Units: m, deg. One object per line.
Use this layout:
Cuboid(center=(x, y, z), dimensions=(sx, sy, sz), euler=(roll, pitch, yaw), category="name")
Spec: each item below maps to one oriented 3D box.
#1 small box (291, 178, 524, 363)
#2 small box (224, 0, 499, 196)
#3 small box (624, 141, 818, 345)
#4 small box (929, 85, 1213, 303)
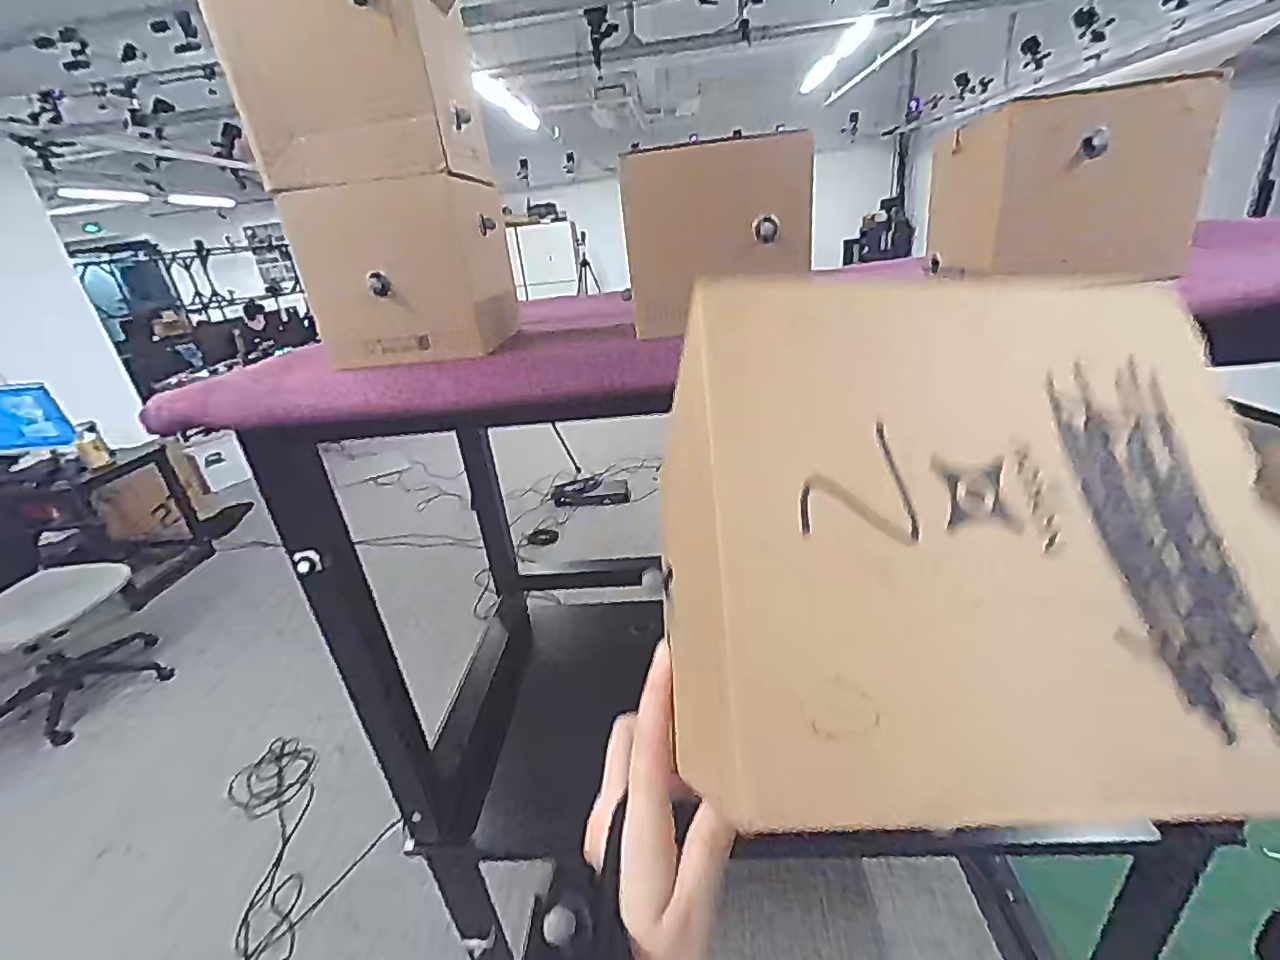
Cuboid(center=(-0.237, -0.229, 0.608), dimensions=(0.168, 0.176, 0.179), euler=(-3, 24, 3), category="small box")
Cuboid(center=(-0.258, -0.376, 0.540), dimensions=(0.179, 0.176, 0.168), euler=(-4, 25, 2), category="small box")
Cuboid(center=(0.083, -0.251, 0.589), dimensions=(0.179, 0.176, 0.168), euler=(-5, 23, 4), category="small box")
Cuboid(center=(0.430, -0.286, 0.579), dimensions=(0.179, 0.176, 0.168), euler=(-3, 22, 6), category="small box")
